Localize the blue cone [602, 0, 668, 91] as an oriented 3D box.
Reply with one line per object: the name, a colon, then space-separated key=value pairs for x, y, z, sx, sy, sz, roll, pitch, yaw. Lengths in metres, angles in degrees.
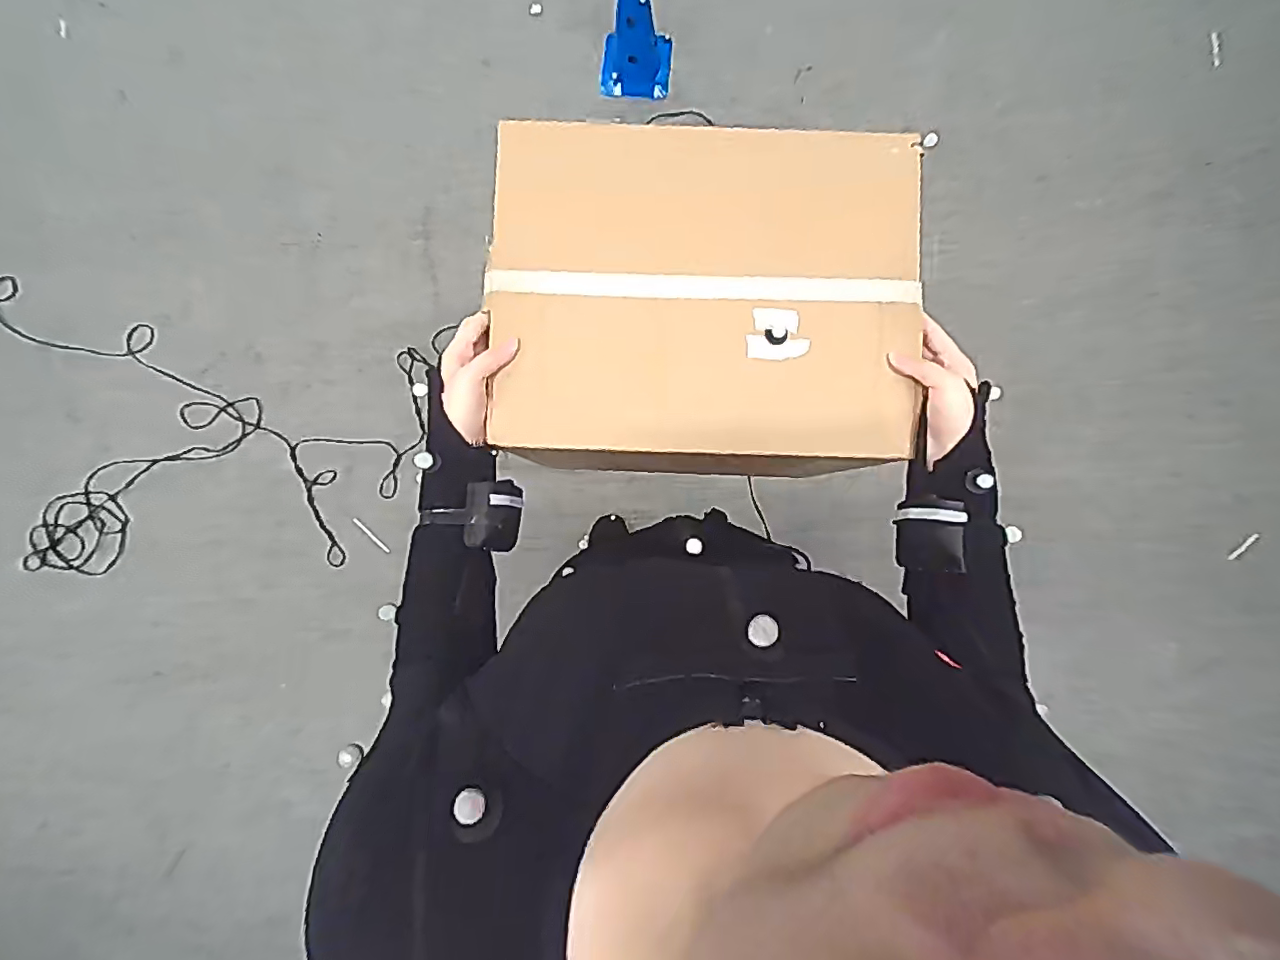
blue cone: x=-0.020 y=-1.260 z=1.442 sx=0.193 sy=0.380 sz=0.192 roll=7 pitch=86 yaw=2

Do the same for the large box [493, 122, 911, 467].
large box: x=0.056 y=-0.181 z=0.664 sx=0.408 sy=0.320 sz=0.320 roll=1 pitch=88 yaw=-2
